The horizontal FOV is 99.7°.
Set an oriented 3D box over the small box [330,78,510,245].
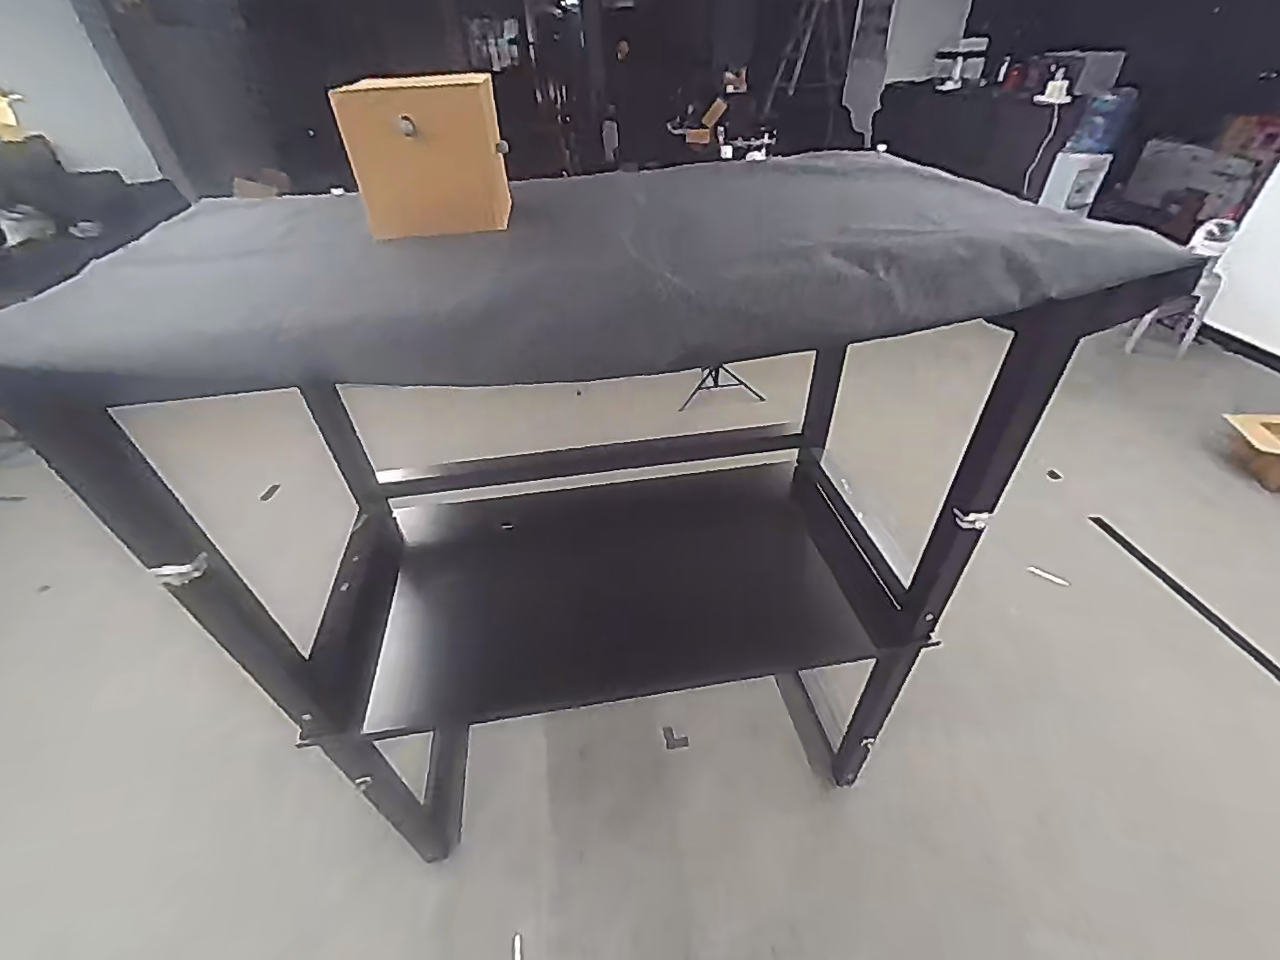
[{"bbox_3d":[-0.280,-0.436,0.741,0.179,0.176,0.168,-7,40,-4],"label":"small box"}]
